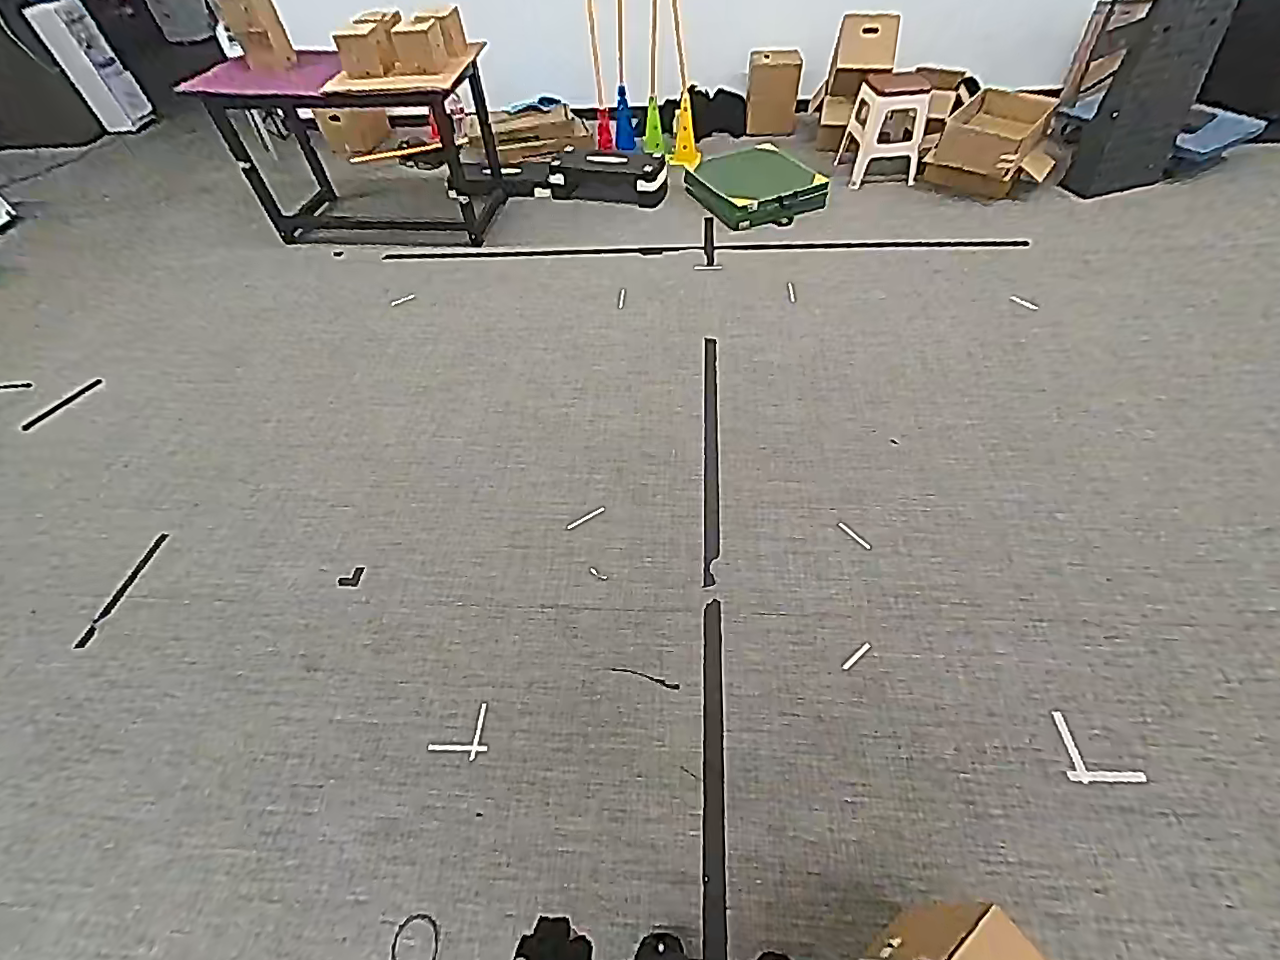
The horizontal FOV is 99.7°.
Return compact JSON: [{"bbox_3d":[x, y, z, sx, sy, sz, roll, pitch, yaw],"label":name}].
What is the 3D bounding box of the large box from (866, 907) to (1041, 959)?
[{"bbox_3d":[0.525,0.952,0.853,0.320,0.408,0.320,-30,54,-20],"label":"large box"}]
